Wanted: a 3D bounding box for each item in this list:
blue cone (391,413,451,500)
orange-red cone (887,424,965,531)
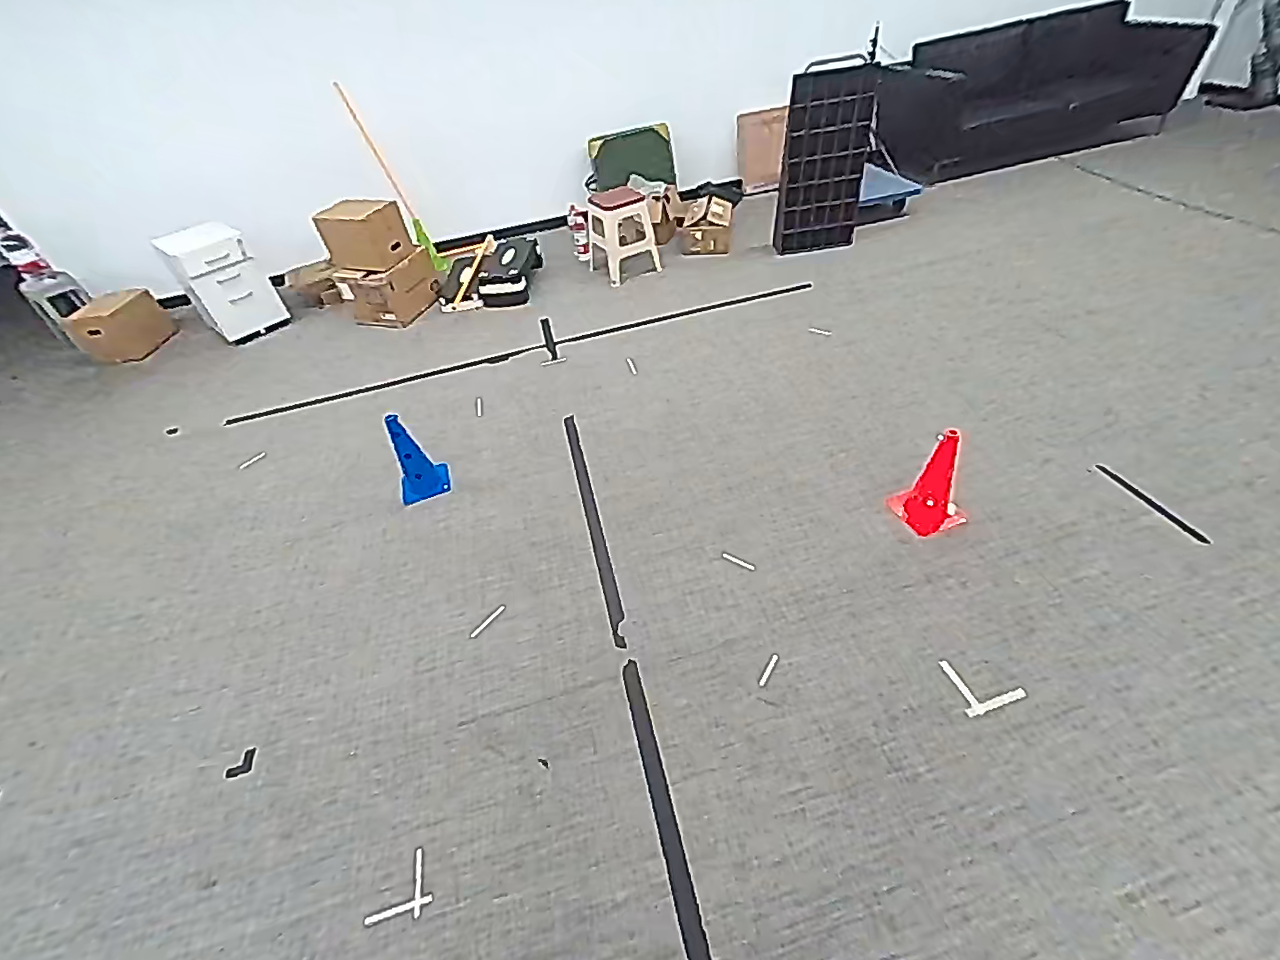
[{"bbox_3d":[-0.930,-0.111,2.201,0.192,0.380,0.193,-18,44,-10],"label":"blue cone"},{"bbox_3d":[0.982,-0.034,1.787,0.198,0.360,0.199,-17,42,-9],"label":"orange-red cone"}]
